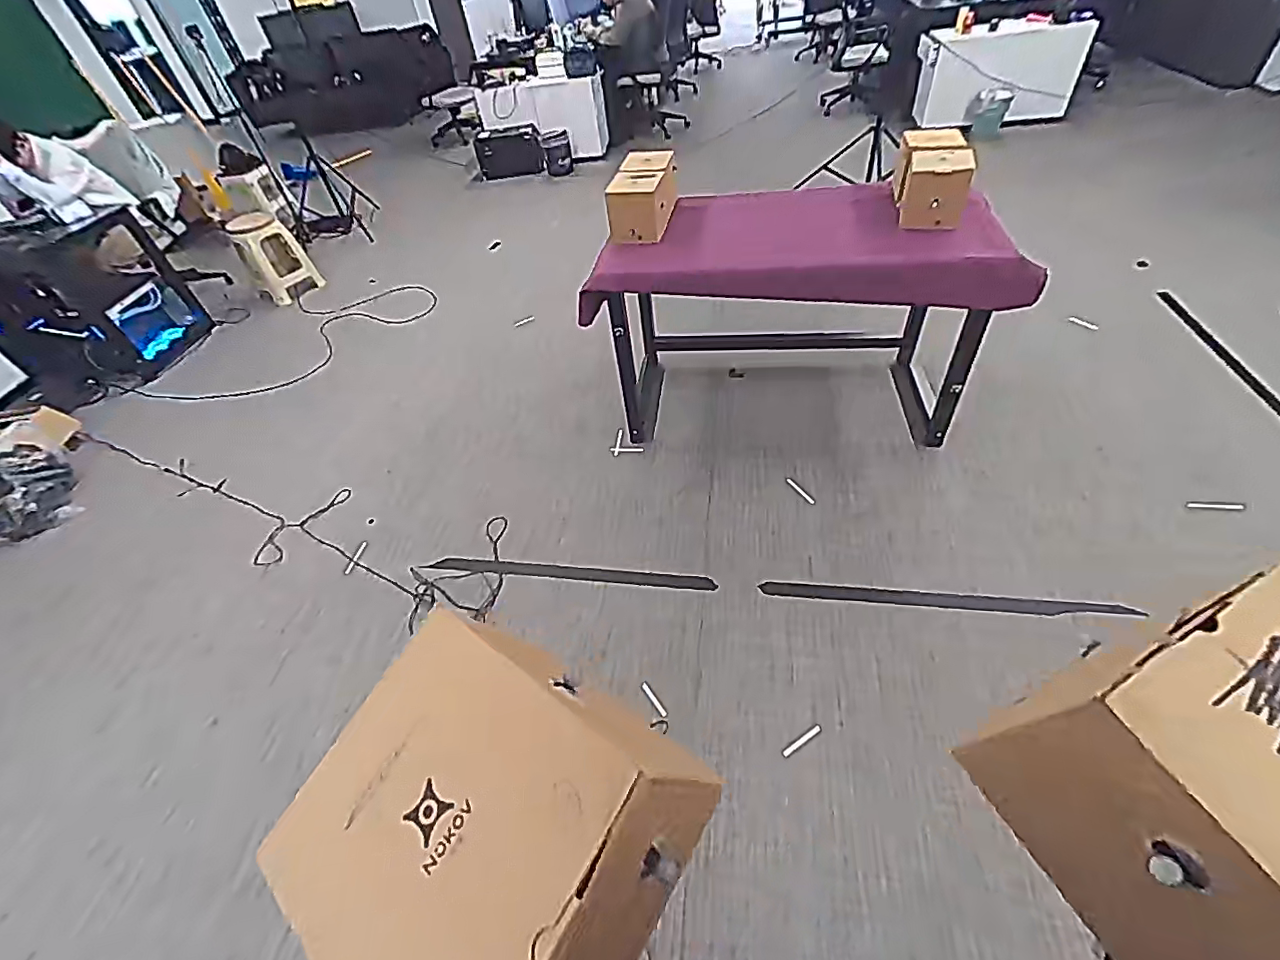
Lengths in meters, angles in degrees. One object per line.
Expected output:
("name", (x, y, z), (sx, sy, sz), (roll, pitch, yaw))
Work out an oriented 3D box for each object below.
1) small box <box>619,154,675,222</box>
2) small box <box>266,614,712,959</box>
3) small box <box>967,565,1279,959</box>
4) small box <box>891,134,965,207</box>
("small box", (0.031, -1.048, 1.939), (0.168, 0.176, 0.179), (5, 49, 13))
("small box", (-0.076, 0.216, 0.346), (0.179, 0.176, 0.168), (22, 70, 33))
("small box", (0.337, 0.182, 0.305), (0.168, 0.176, 0.179), (-24, 59, -12))
("small box", (0.934, -1.014, 1.772), (0.168, 0.176, 0.179), (5, 47, 13))
